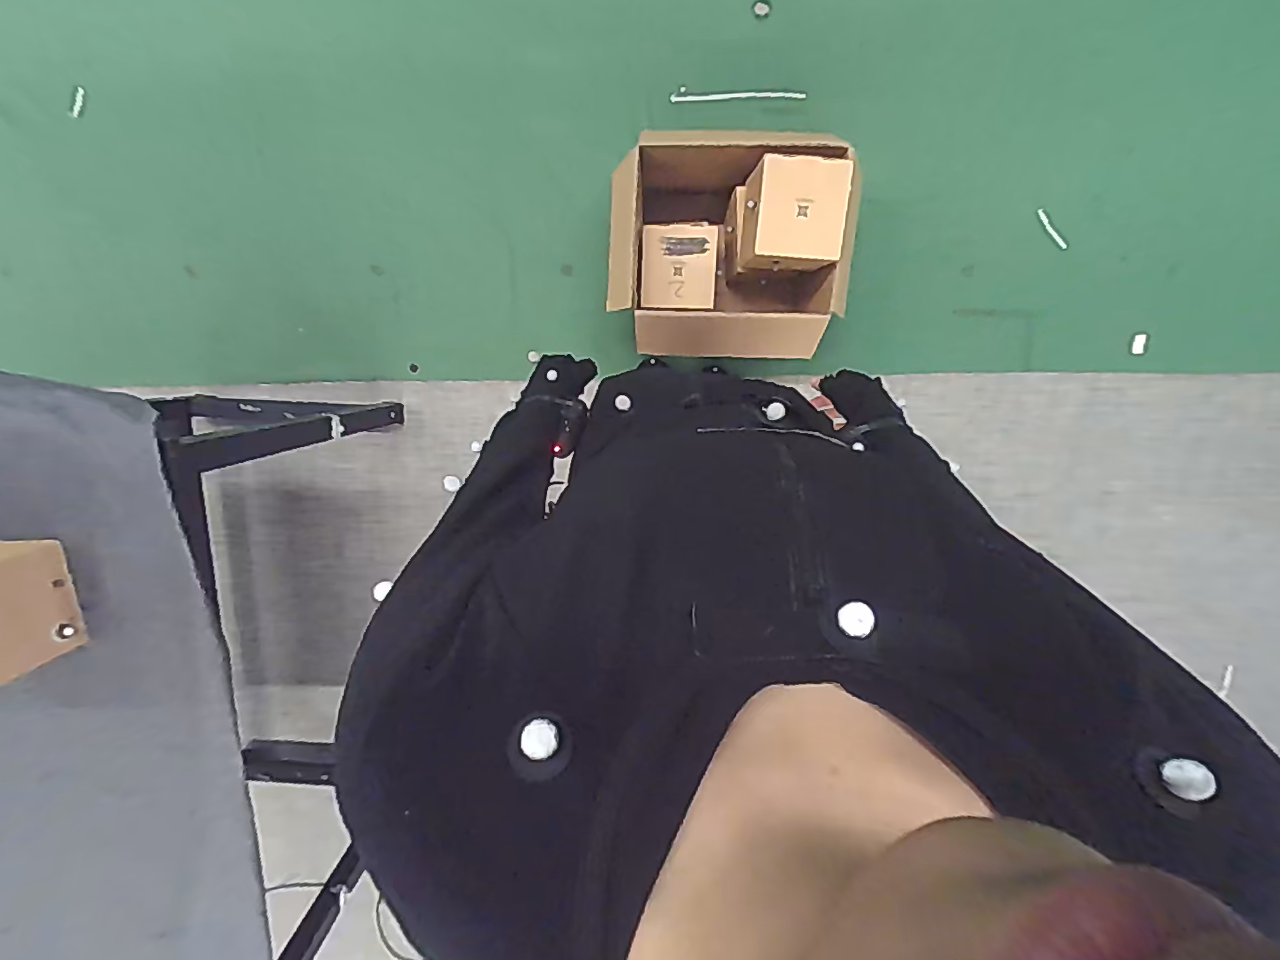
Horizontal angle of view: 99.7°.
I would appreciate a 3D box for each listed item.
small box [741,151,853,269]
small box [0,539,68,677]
[{"bbox_3d":[0.301,-0.524,1.074,0.168,0.176,0.179,4,103,-1],"label":"small box"},{"bbox_3d":[-0.933,0.182,0.722,0.179,0.176,0.168,-1,103,3],"label":"small box"}]
